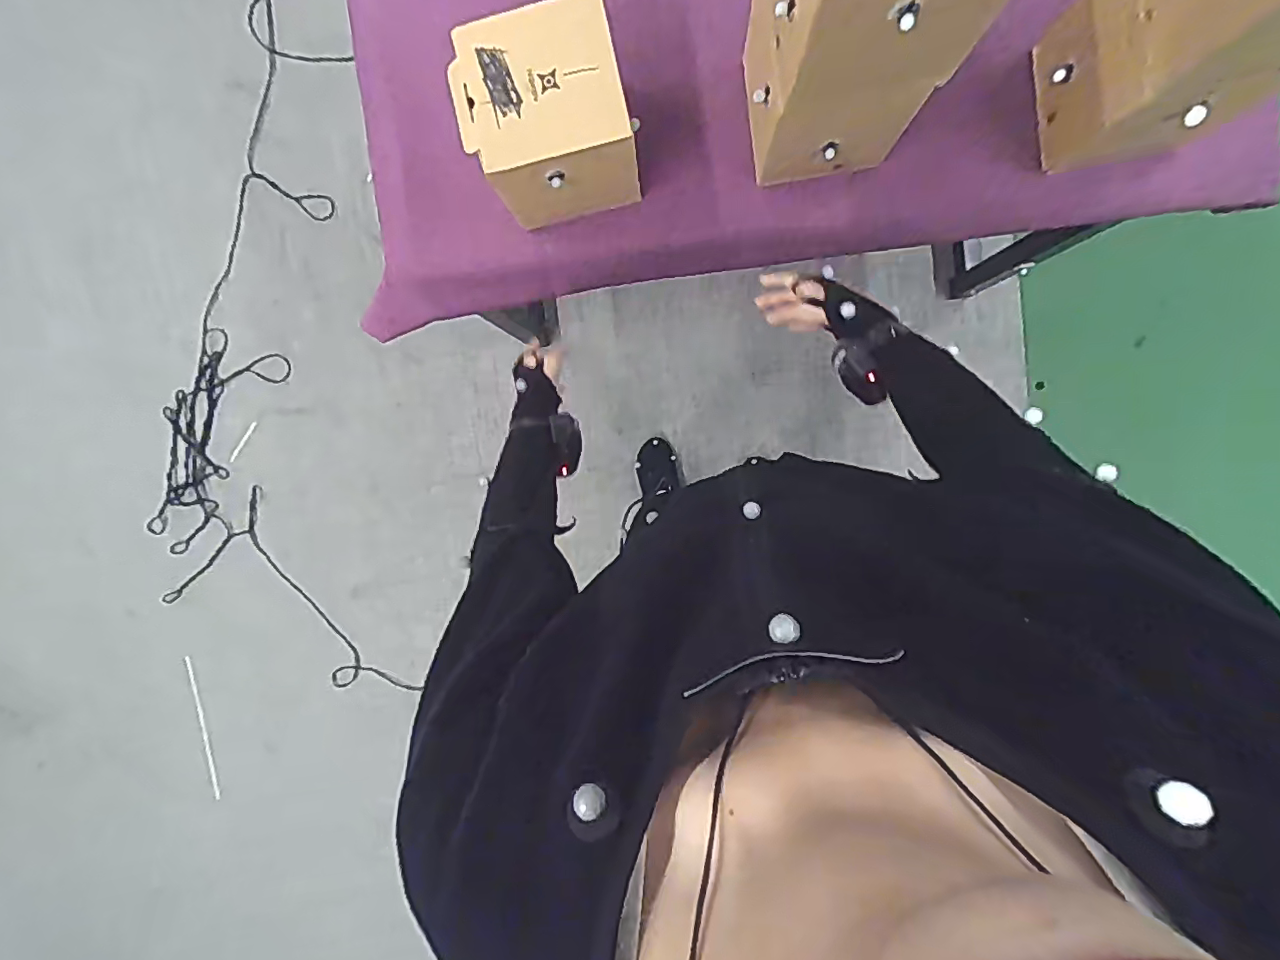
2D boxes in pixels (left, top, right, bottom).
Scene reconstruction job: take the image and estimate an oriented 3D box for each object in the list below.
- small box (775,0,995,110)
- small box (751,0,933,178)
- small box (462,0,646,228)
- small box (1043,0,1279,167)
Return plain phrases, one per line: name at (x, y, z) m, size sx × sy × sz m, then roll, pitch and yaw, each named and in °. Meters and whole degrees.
small box at (0.222, -0.478, 0.494) m, size 0.179 × 0.176 × 0.168 m, roll -7°, pitch 94°, yaw 6°
small box at (0.231, -0.494, 0.656) m, size 0.168 × 0.176 × 0.179 m, roll -6°, pitch 92°, yaw 6°
small box at (-0.097, -0.449, 0.692) m, size 0.179 × 0.176 × 0.168 m, roll -12°, pitch 93°, yaw 5°
small box at (0.610, -0.494, 0.620) m, size 0.179 × 0.176 × 0.168 m, roll -8°, pitch 94°, yaw 7°
